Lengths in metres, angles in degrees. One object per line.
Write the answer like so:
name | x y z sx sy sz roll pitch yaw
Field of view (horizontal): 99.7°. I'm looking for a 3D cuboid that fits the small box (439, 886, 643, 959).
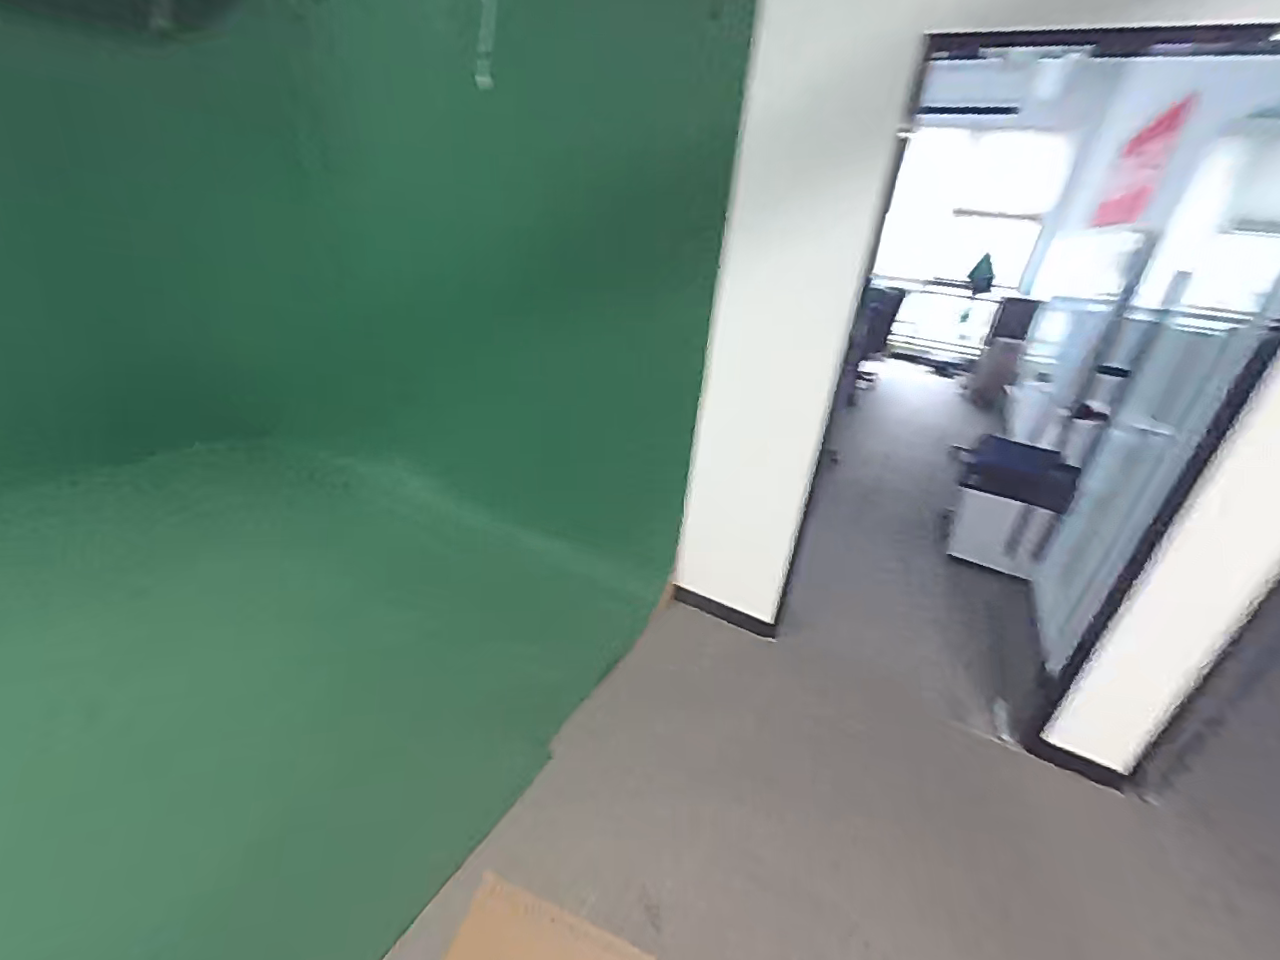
small box | -0.101 0.455 0.402 0.179 0.168 0.176 26 -6 2
